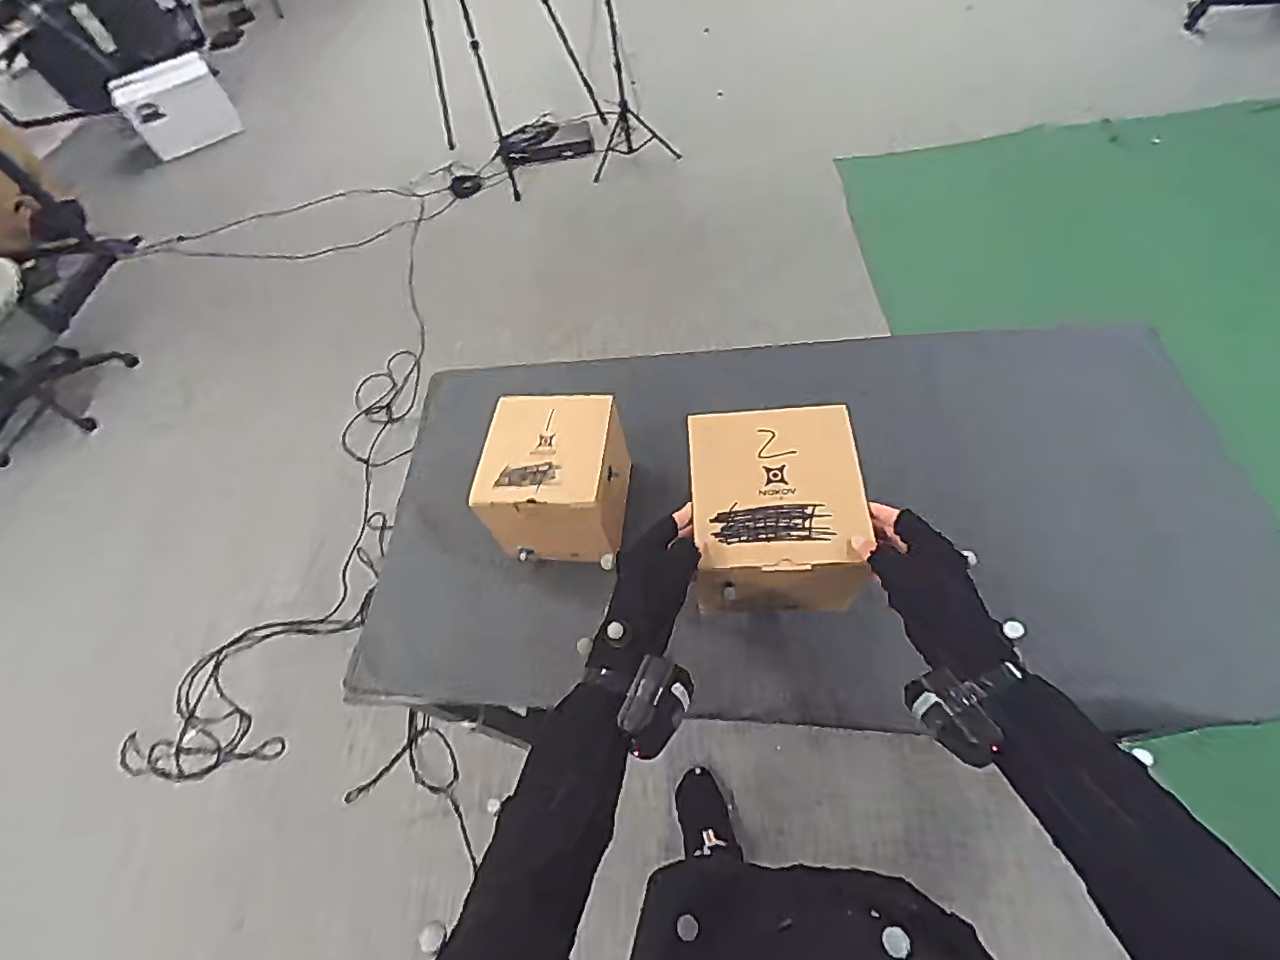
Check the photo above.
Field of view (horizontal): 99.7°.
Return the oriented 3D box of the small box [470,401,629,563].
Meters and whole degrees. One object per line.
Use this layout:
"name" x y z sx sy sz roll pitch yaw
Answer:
"small box" -0.114 0.008 0.774 0.168 0.176 0.179 1 56 10
